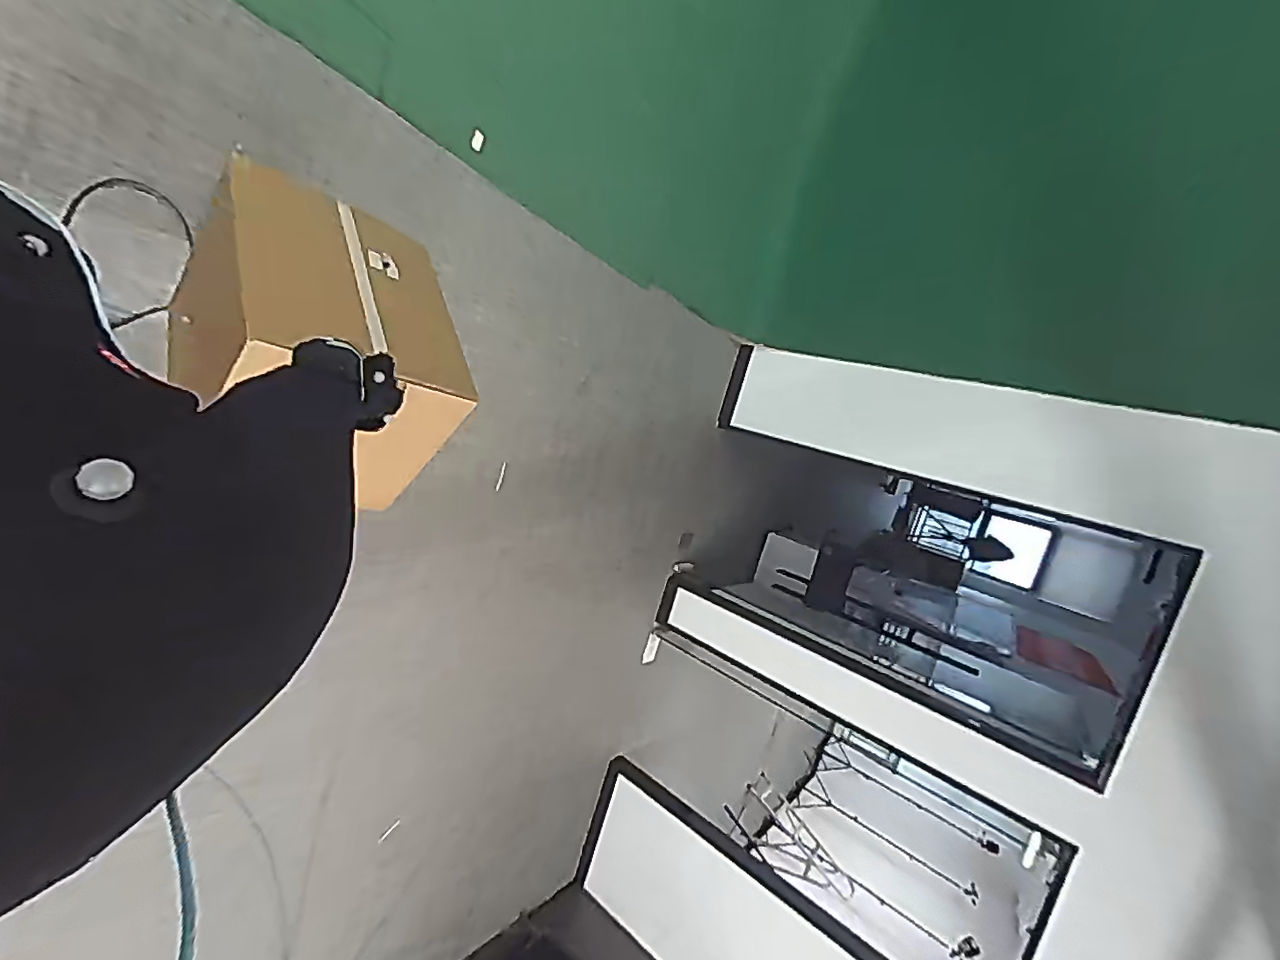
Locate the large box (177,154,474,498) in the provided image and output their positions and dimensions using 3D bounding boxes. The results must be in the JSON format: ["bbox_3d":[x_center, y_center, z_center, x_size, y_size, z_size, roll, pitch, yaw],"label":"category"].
[{"bbox_3d":[-0.535,-0.221,0.900,0.320,0.408,0.320,-40,151,27],"label":"large box"}]
